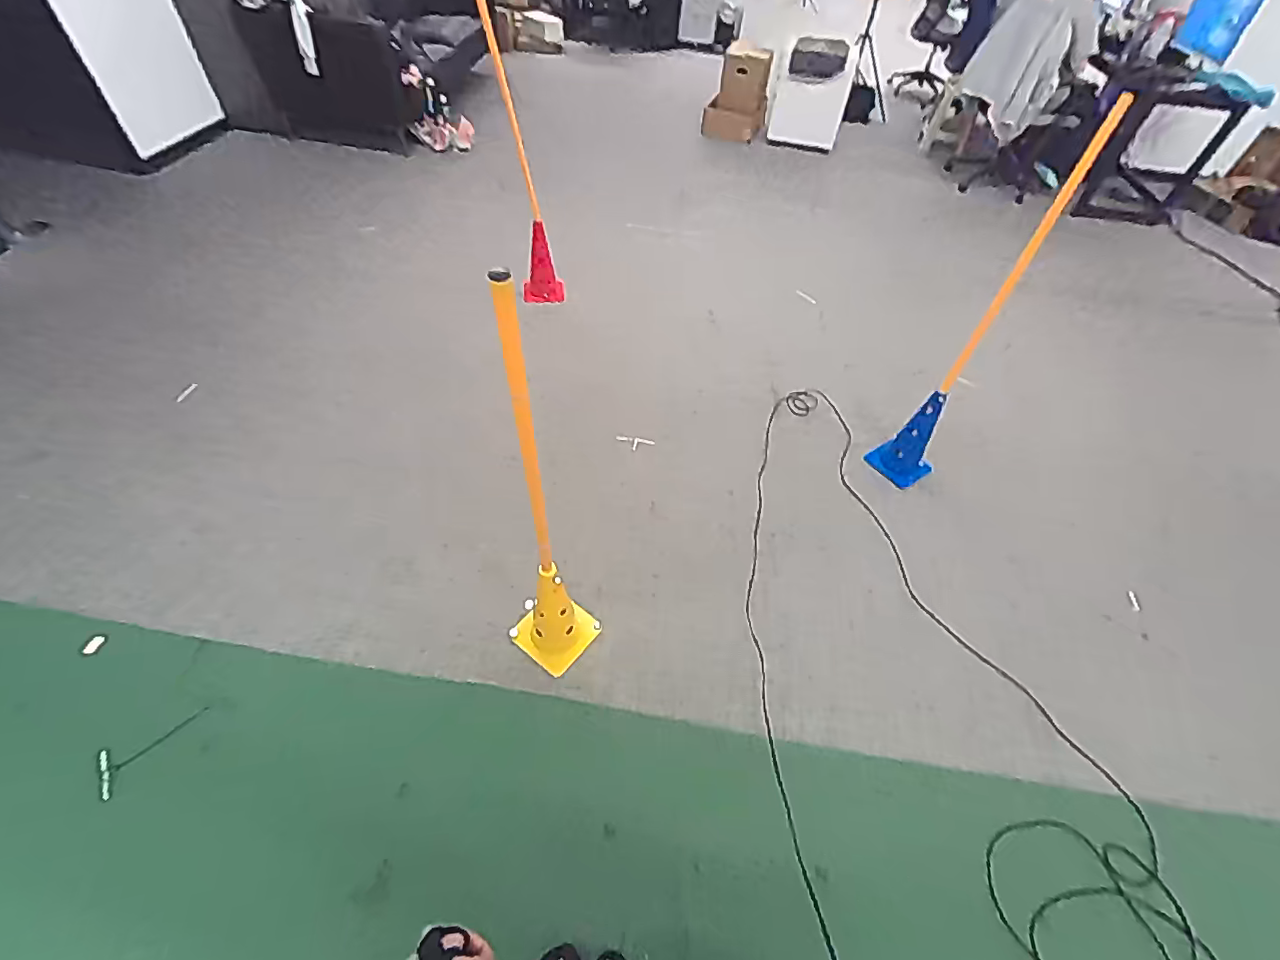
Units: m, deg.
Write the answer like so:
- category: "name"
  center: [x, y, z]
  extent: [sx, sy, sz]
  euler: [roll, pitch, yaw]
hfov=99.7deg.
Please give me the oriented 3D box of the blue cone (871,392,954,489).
- category: "blue cone"
  center: [1.014, -0.166, 1.956]
  extent: [0.193, 0.380, 0.192]
  euler: [-26, 56, -27]
